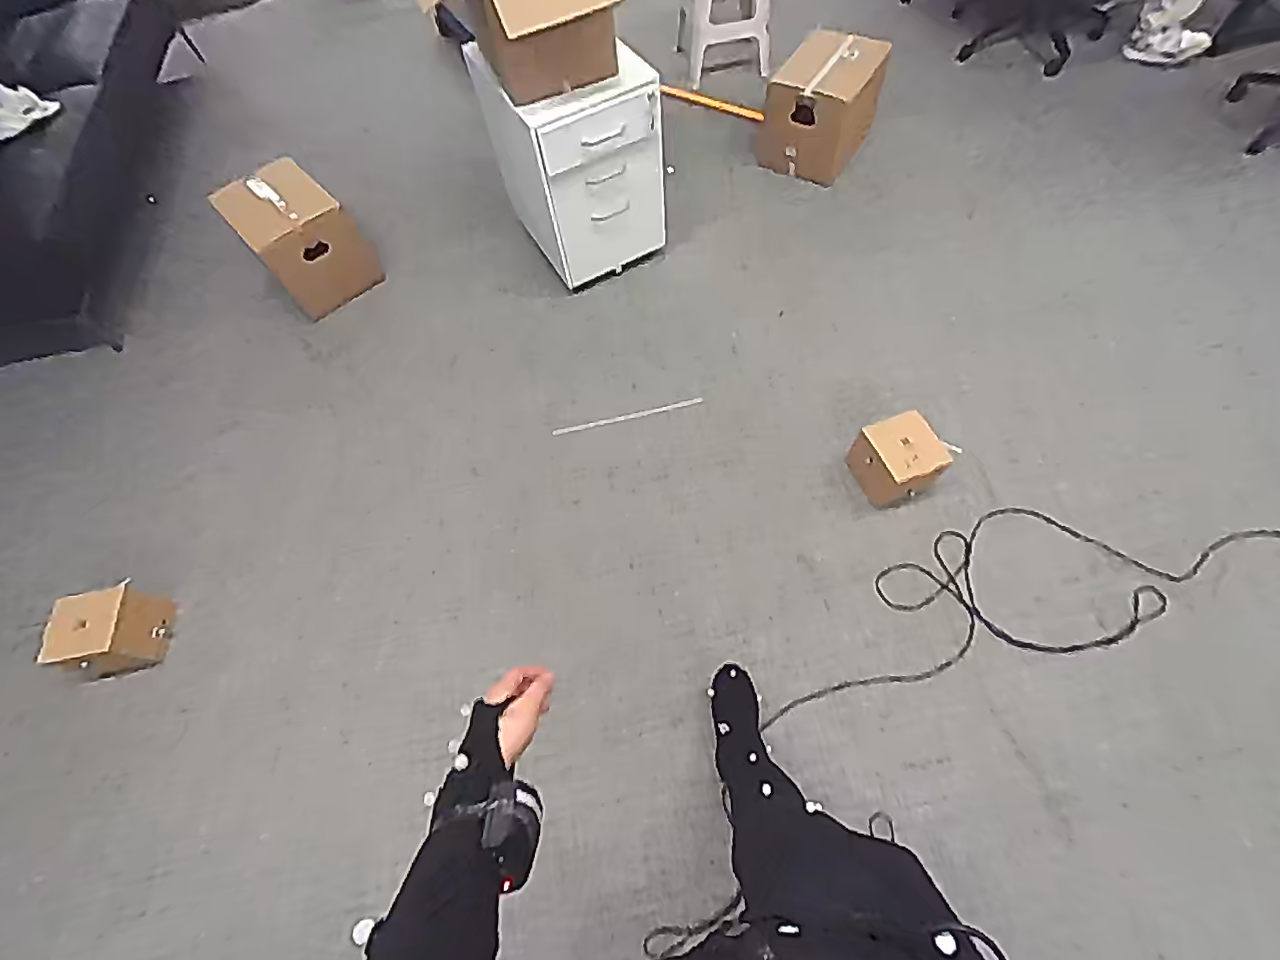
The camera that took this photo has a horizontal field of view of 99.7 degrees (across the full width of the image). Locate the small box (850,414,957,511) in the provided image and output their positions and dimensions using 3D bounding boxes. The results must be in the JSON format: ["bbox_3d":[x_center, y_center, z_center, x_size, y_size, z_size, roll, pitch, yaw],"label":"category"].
[{"bbox_3d":[0.695,-0.043,1.453,0.168,0.176,0.179,-20,63,-5],"label":"small box"}]

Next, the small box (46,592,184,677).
[{"bbox_3d":[-1.365,0.411,1.420,0.179,0.176,0.168,-11,63,-2],"label":"small box"}]
